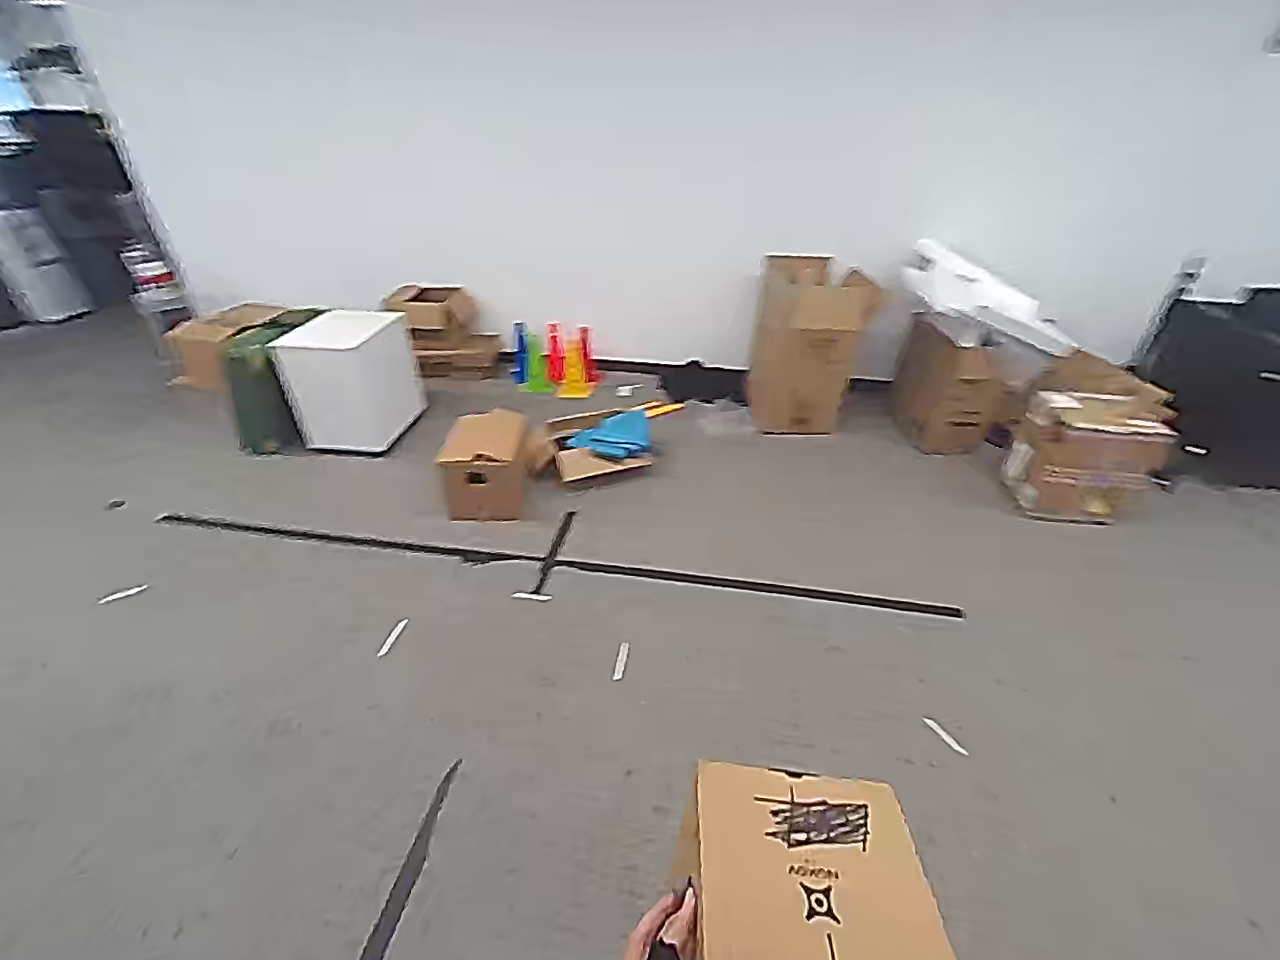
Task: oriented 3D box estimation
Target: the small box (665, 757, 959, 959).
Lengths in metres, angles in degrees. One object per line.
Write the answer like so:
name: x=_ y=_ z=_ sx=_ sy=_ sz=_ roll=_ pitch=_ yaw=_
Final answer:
small box: x=0.110 y=0.348 z=0.404 sx=0.168 sy=0.176 sz=0.179 roll=7 pitch=25 yaw=-1
